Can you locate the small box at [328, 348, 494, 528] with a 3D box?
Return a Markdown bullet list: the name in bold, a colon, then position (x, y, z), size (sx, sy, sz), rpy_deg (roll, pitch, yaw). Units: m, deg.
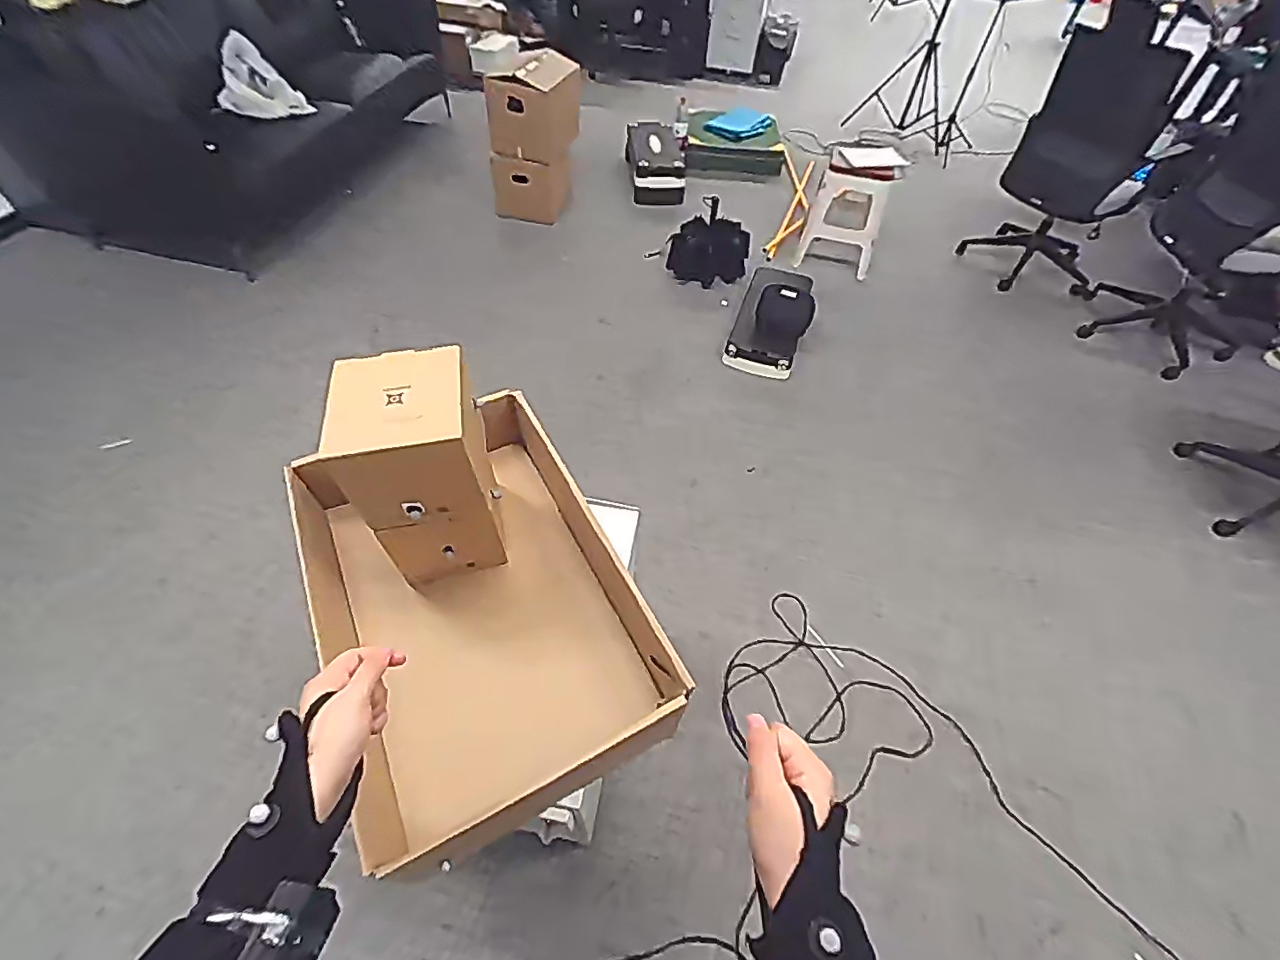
- **small box**: position (-0.309, -0.057, 0.762), size (0.168, 0.176, 0.179), rpy_deg (-11, 55, -8)
